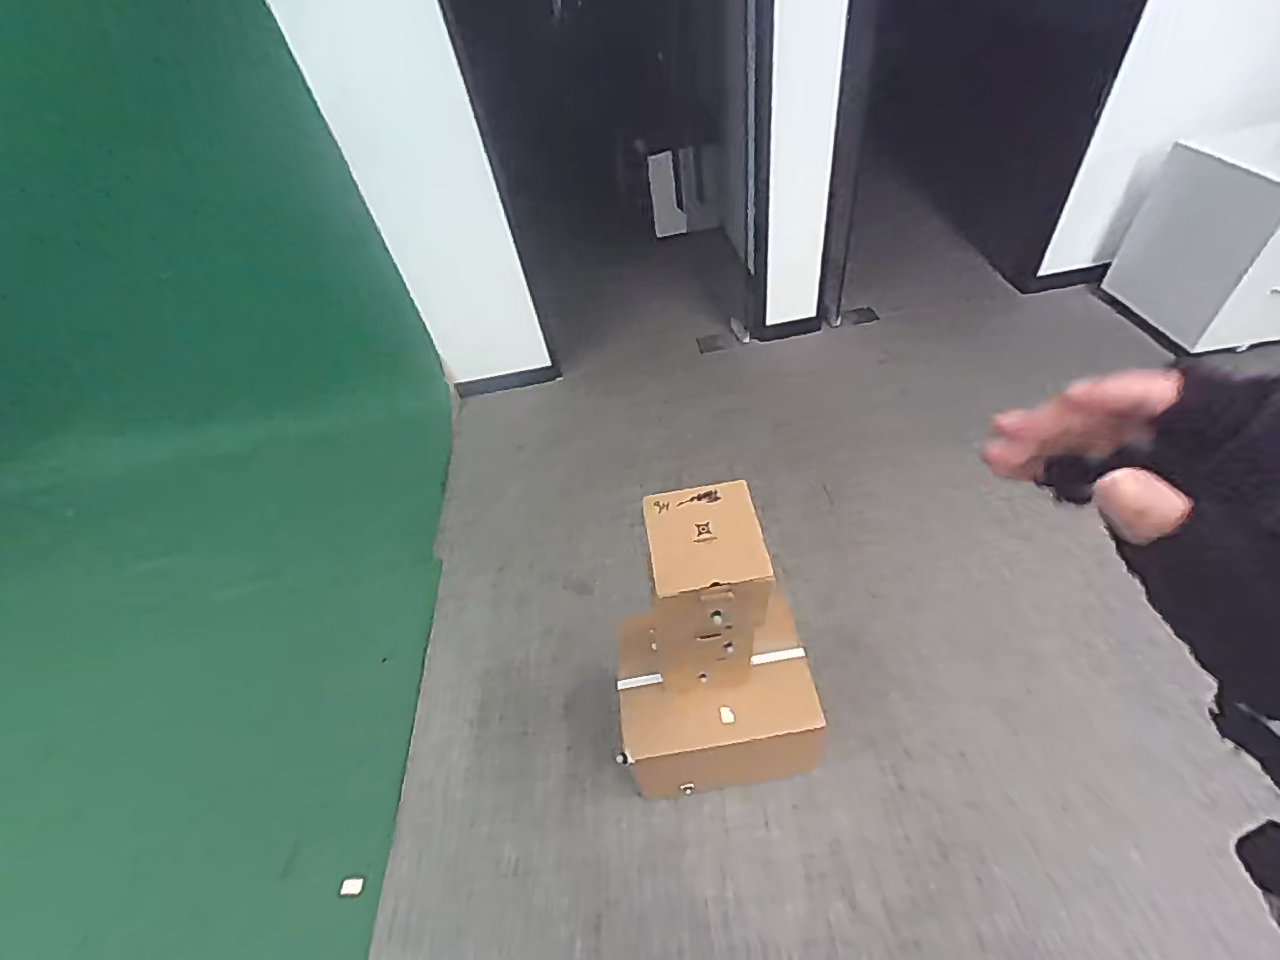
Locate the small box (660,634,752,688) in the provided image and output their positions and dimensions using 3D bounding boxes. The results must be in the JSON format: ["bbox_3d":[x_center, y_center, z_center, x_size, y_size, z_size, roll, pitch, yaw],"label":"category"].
[{"bbox_3d":[0.124,0.317,1.127,0.179,0.176,0.168,-11,53,1],"label":"small box"}]

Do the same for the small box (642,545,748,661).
[{"bbox_3d":[0.103,0.221,0.998,0.168,0.176,0.179,-10,52,0],"label":"small box"}]

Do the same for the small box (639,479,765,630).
[{"bbox_3d":[0.097,0.127,0.864,0.168,0.176,0.179,-10,53,1],"label":"small box"}]
